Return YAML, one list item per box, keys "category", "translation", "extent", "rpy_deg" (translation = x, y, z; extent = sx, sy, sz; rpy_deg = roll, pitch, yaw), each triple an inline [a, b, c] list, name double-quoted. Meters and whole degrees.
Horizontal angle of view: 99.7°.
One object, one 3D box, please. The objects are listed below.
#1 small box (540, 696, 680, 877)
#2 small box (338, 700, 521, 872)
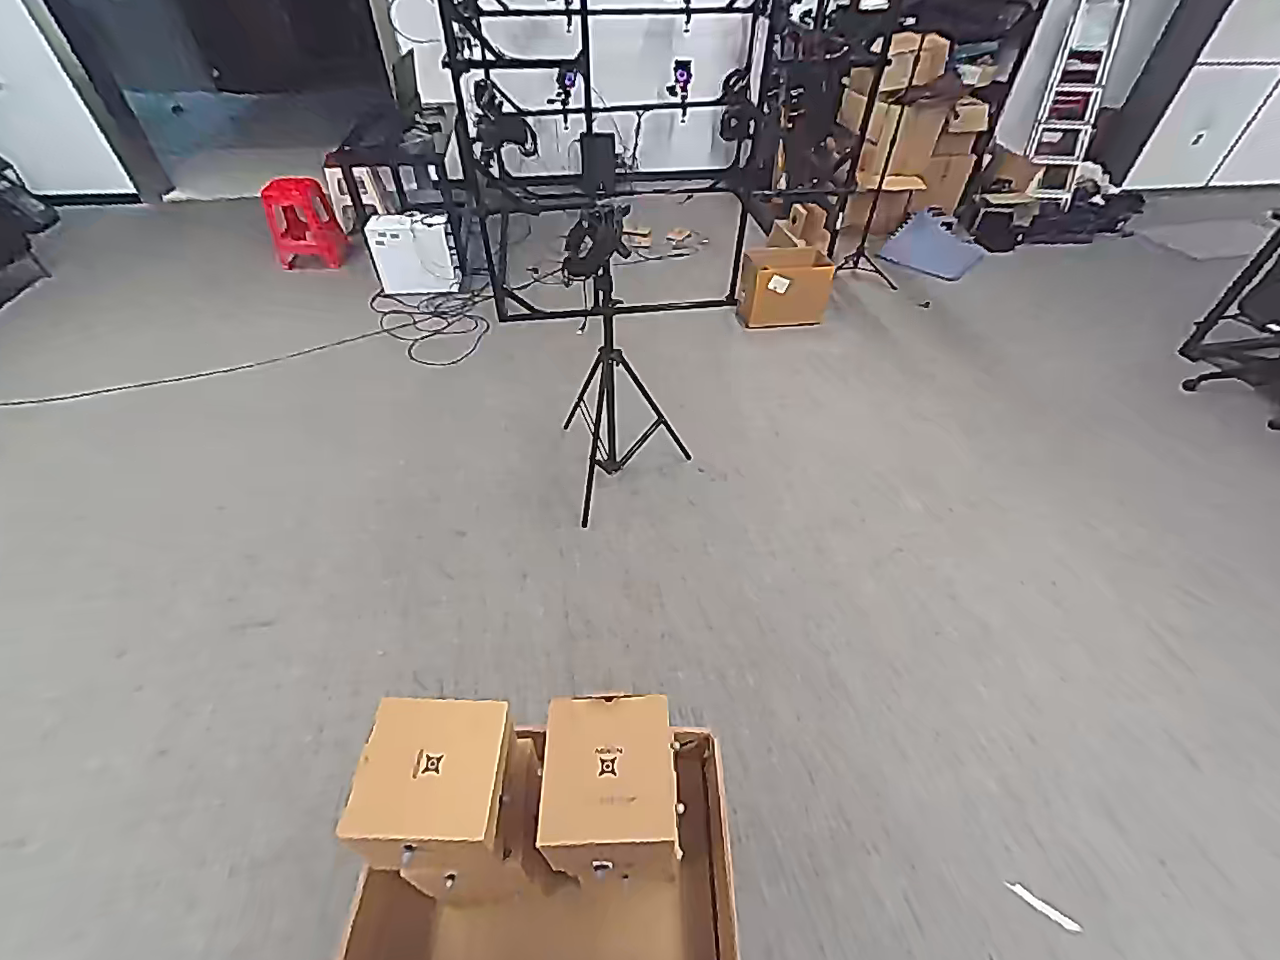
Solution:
- category: "small box"
  translation: [-0.035, 0.417, 0.739]
  extent: [0.168, 0.176, 0.179]
  rpy_deg: [-2, 44, 0]
- category: "small box"
  translation: [-0.265, 0.418, 0.737]
  extent: [0.179, 0.176, 0.168]
  rpy_deg: [2, 44, -1]
